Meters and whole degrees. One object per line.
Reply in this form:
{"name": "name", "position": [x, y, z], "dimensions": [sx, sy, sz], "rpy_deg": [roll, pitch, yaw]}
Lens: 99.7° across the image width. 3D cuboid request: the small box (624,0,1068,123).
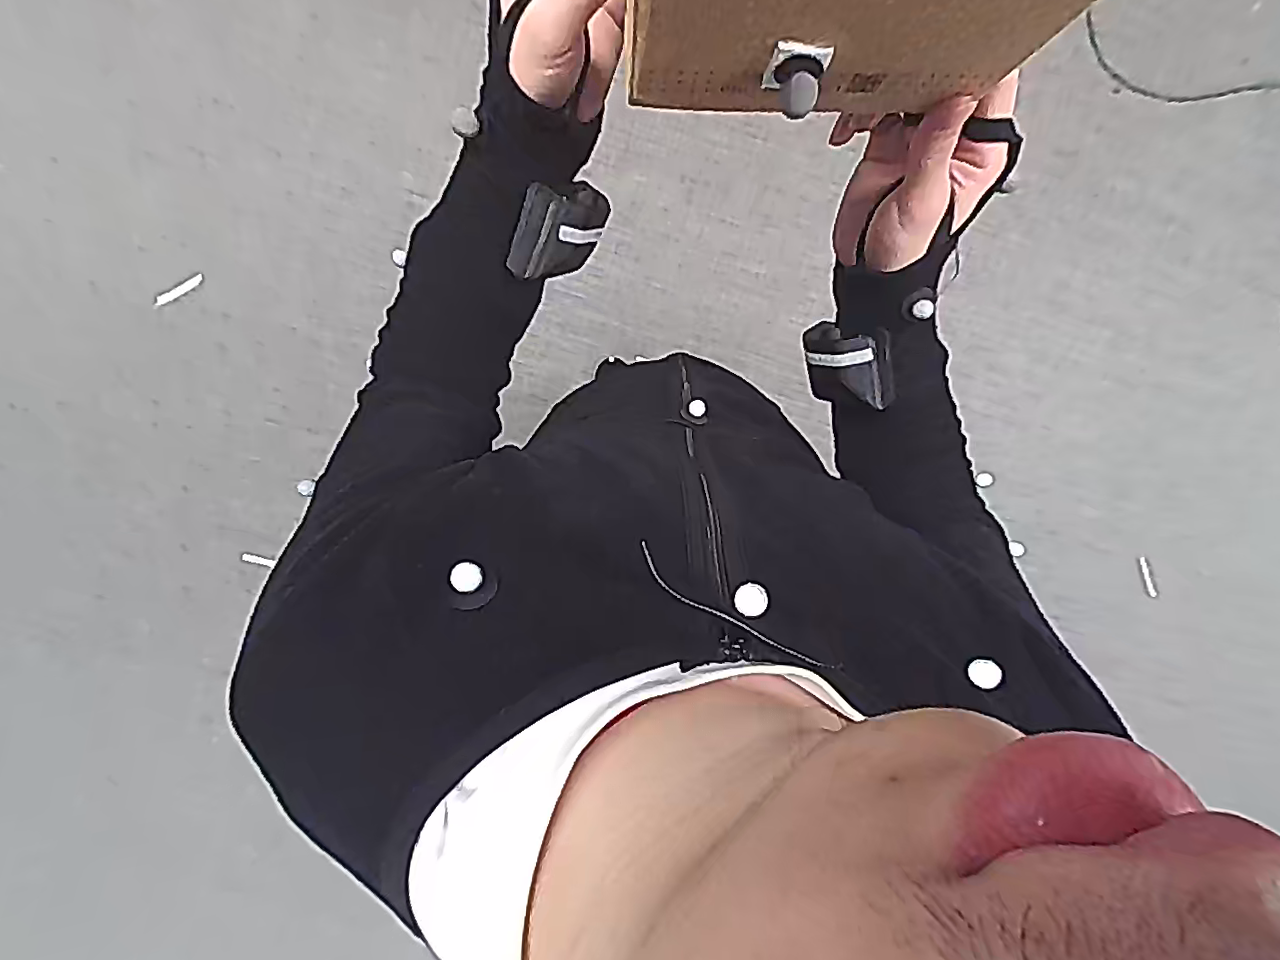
{"name": "small box", "position": [0.076, -0.256, 0.179], "dimensions": [0.168, 0.176, 0.179], "rpy_deg": [-1, 98, -1]}
